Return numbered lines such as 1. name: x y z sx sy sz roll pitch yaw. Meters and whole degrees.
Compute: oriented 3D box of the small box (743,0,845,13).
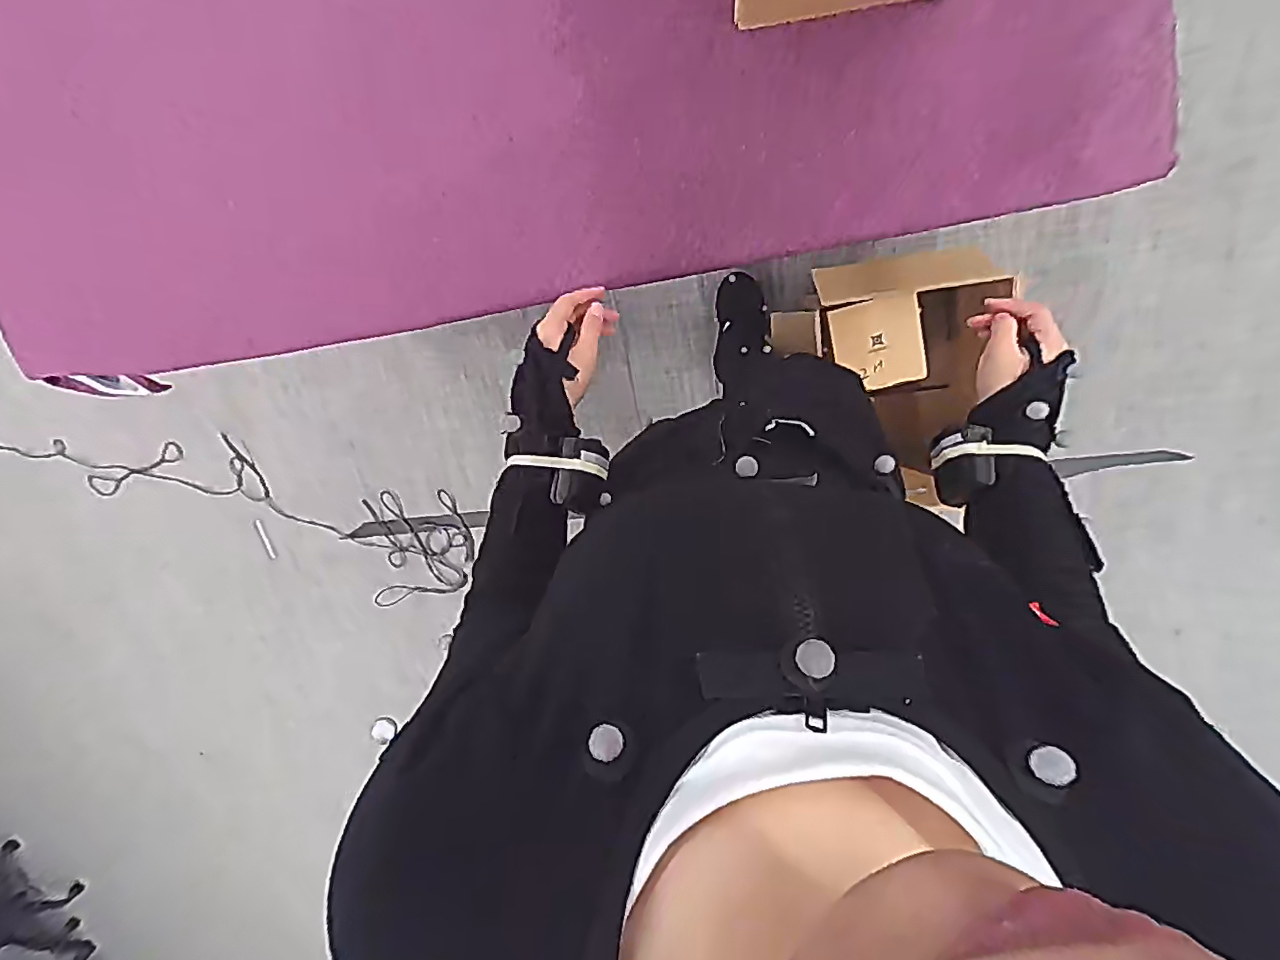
1. small box: 0.155 -0.454 0.356 0.179 0.176 0.168 -1 110 11
